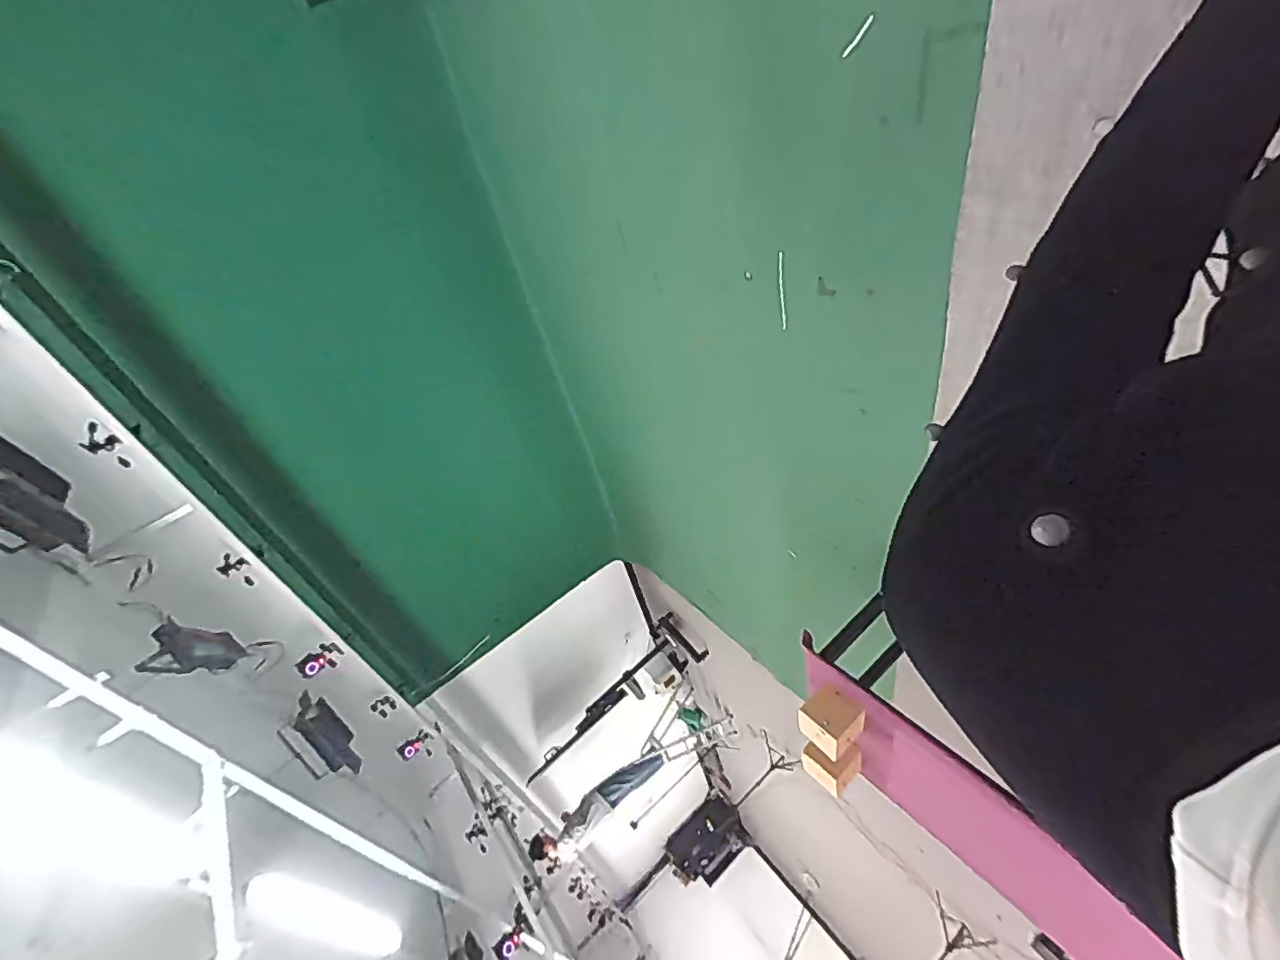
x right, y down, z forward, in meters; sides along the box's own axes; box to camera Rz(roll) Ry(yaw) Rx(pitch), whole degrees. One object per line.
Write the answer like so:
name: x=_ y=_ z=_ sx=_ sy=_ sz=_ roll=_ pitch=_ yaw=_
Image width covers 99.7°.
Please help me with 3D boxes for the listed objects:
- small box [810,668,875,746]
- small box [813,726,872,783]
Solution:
small box: x=0.759 y=0.846 z=2.024 sx=0.168 sy=0.176 sz=0.179 roll=34 pitch=151 yaw=43
small box: x=0.844 y=1.107 z=2.249 sx=0.168 sy=0.176 sz=0.179 roll=30 pitch=148 yaw=44
